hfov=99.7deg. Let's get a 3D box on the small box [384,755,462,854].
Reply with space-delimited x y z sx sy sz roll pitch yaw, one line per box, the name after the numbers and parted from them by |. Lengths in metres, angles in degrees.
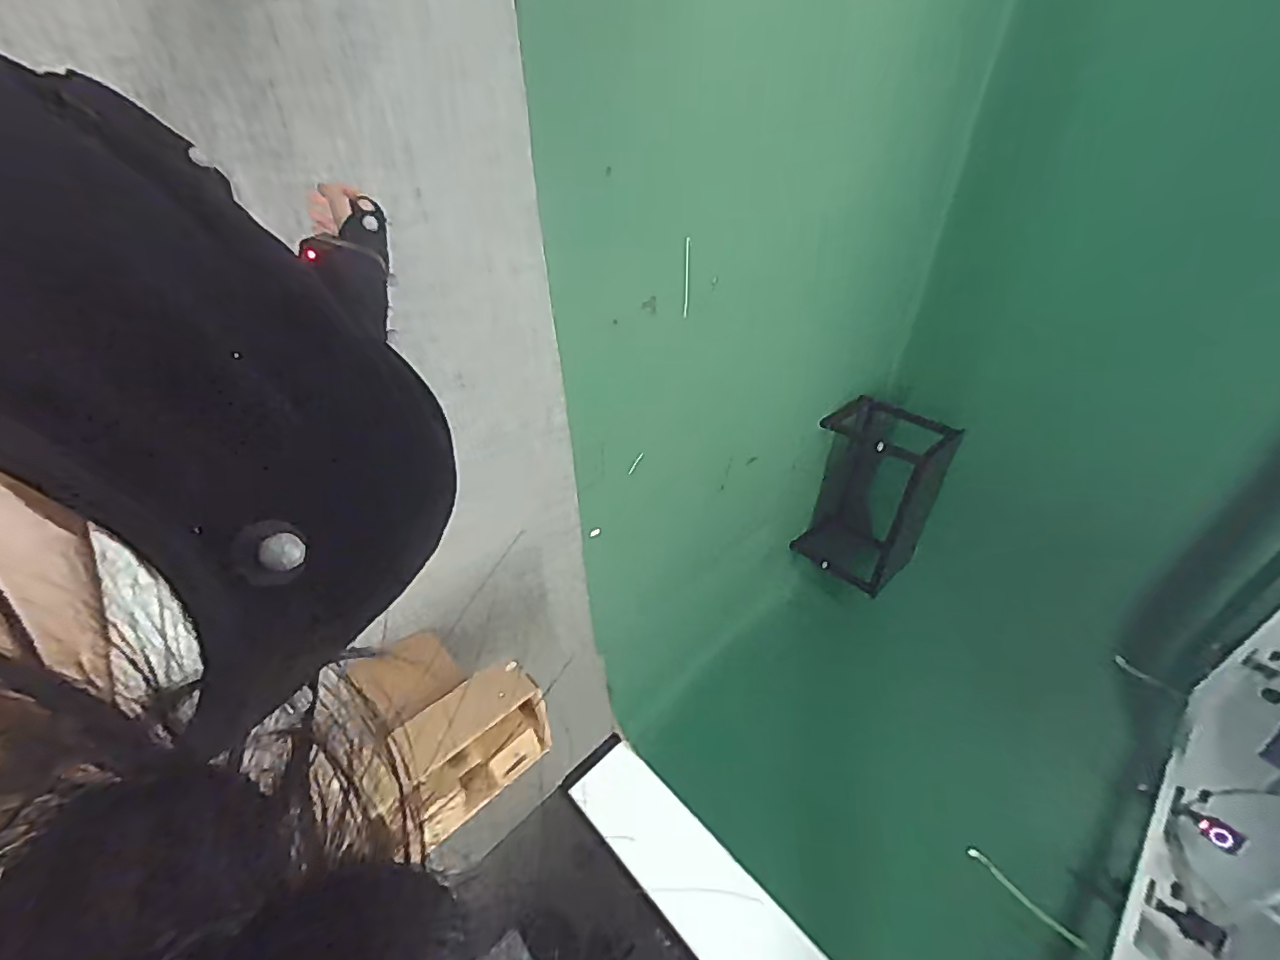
-0.671 0.991 1.672 0.168 0.176 0.179 -22 131 -41 | small box
